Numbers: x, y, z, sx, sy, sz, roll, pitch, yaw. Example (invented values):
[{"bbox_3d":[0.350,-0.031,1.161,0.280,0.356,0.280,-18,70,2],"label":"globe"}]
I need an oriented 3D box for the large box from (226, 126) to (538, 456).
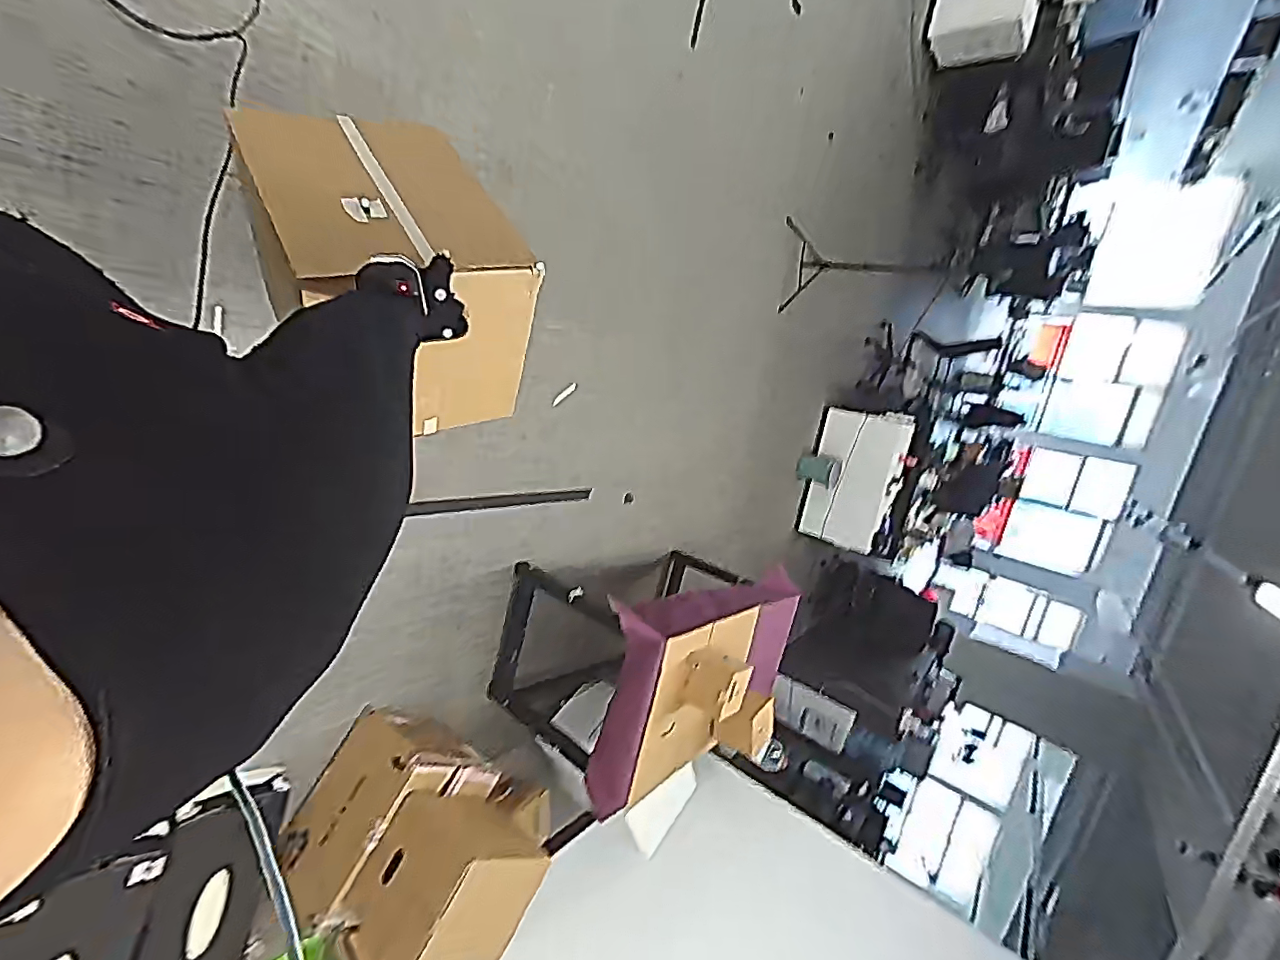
[{"bbox_3d":[-0.426,-0.311,0.902,0.320,0.408,0.320,-19,153,-34],"label":"large box"}]
